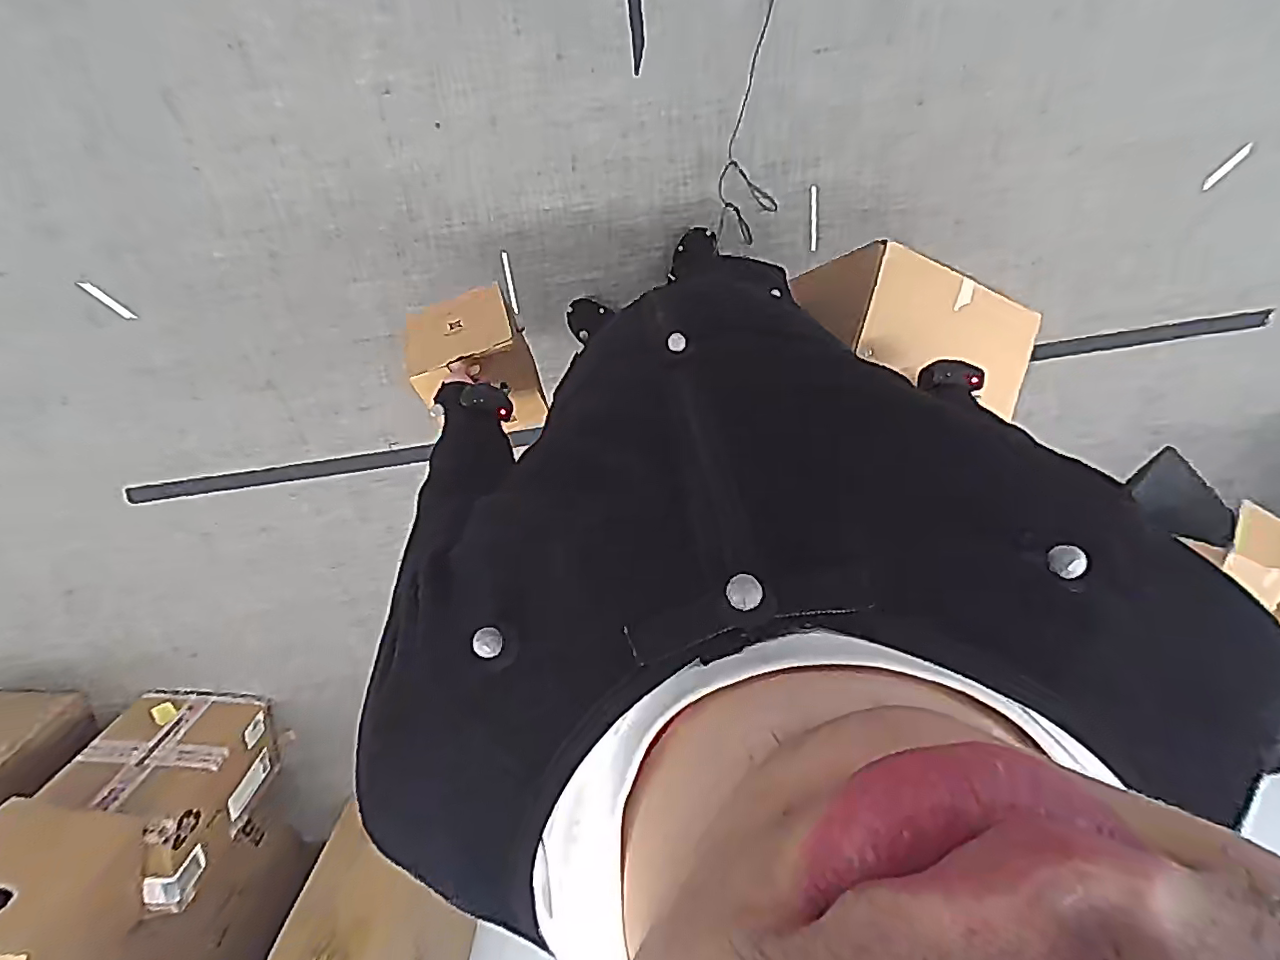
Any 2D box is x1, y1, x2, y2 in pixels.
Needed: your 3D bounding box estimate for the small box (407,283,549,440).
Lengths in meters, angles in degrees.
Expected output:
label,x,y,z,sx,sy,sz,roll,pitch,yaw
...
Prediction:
label,x,y,z,sx,sy,sz,roll,pitch,yaw
small box,-0.266,-0.189,0.904,0.168,0.179,0.176,-21,143,-2
